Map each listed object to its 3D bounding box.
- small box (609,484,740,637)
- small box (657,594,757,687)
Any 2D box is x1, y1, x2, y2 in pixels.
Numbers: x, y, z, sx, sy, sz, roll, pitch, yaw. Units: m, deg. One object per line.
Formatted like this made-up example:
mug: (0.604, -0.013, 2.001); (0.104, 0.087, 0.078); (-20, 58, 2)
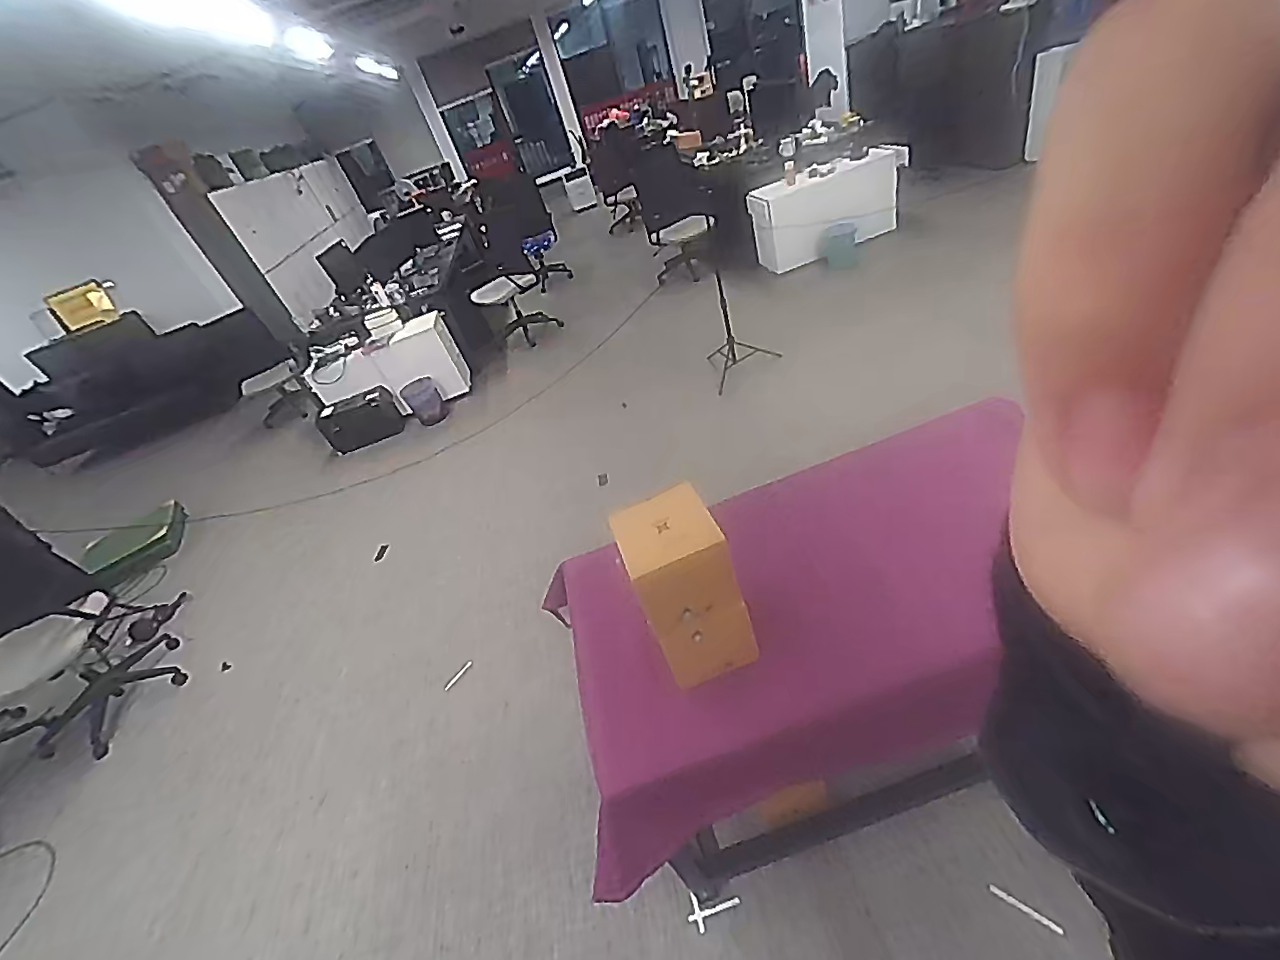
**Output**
small box: (0.061, 0.143, 0.963); (0.168, 0.176, 0.179); (-23, 36, -3)
small box: (0.113, 0.266, 1.058); (0.168, 0.176, 0.179); (-22, 36, -2)
